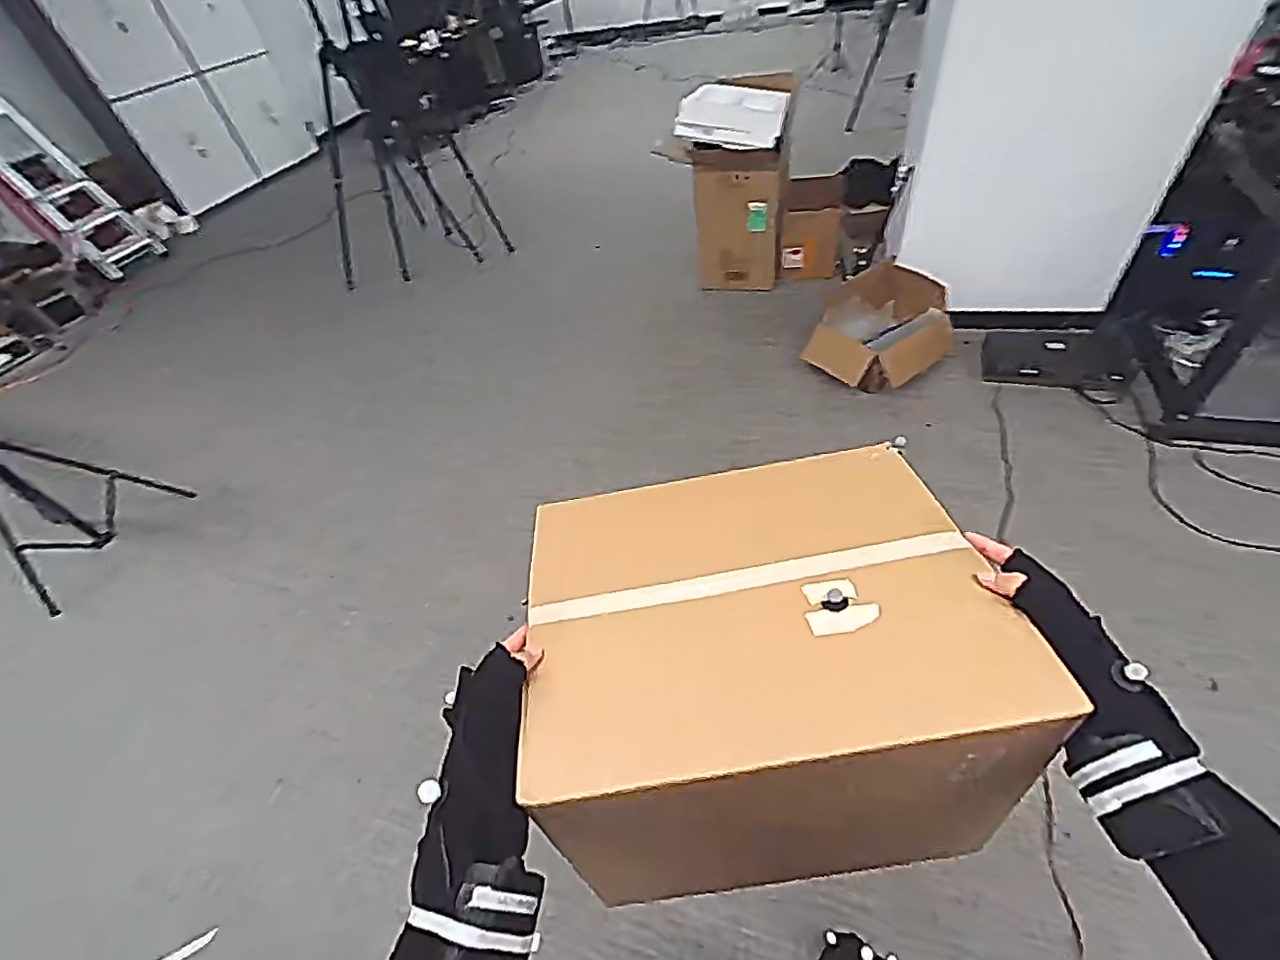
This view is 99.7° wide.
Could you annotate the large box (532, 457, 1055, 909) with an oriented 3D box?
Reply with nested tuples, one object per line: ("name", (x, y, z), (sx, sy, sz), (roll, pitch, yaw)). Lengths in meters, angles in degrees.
("large box", (0.119, 0.219, 0.604), (0.408, 0.320, 0.320), (-11, 40, 1))
